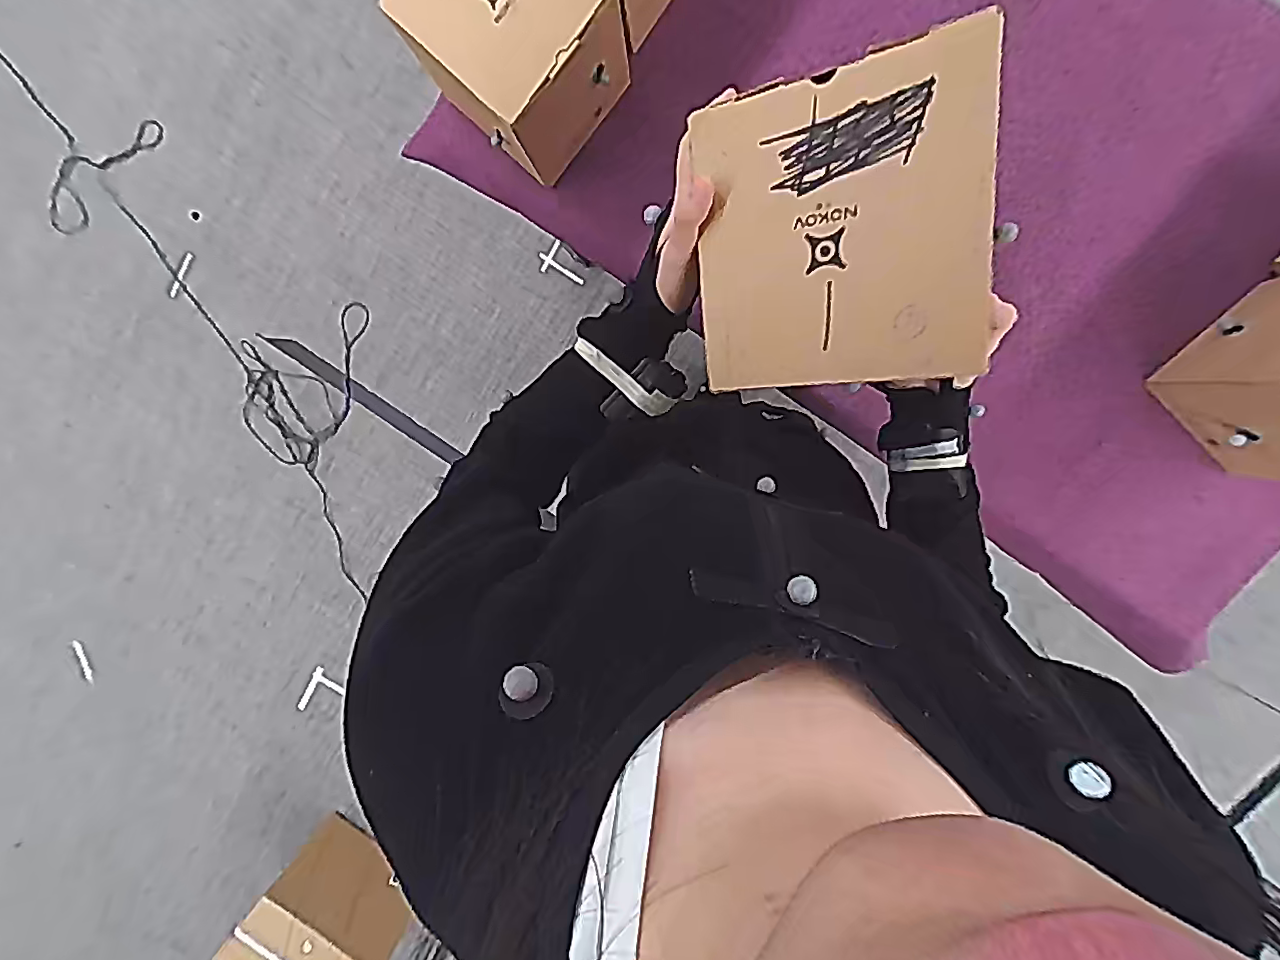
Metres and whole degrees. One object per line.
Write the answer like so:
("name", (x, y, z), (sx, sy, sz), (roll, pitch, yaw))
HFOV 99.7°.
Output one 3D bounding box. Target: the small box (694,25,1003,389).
("small box", (0.150, -0.164, 0.389), (0.168, 0.176, 0.179), (3, 107, 30))
